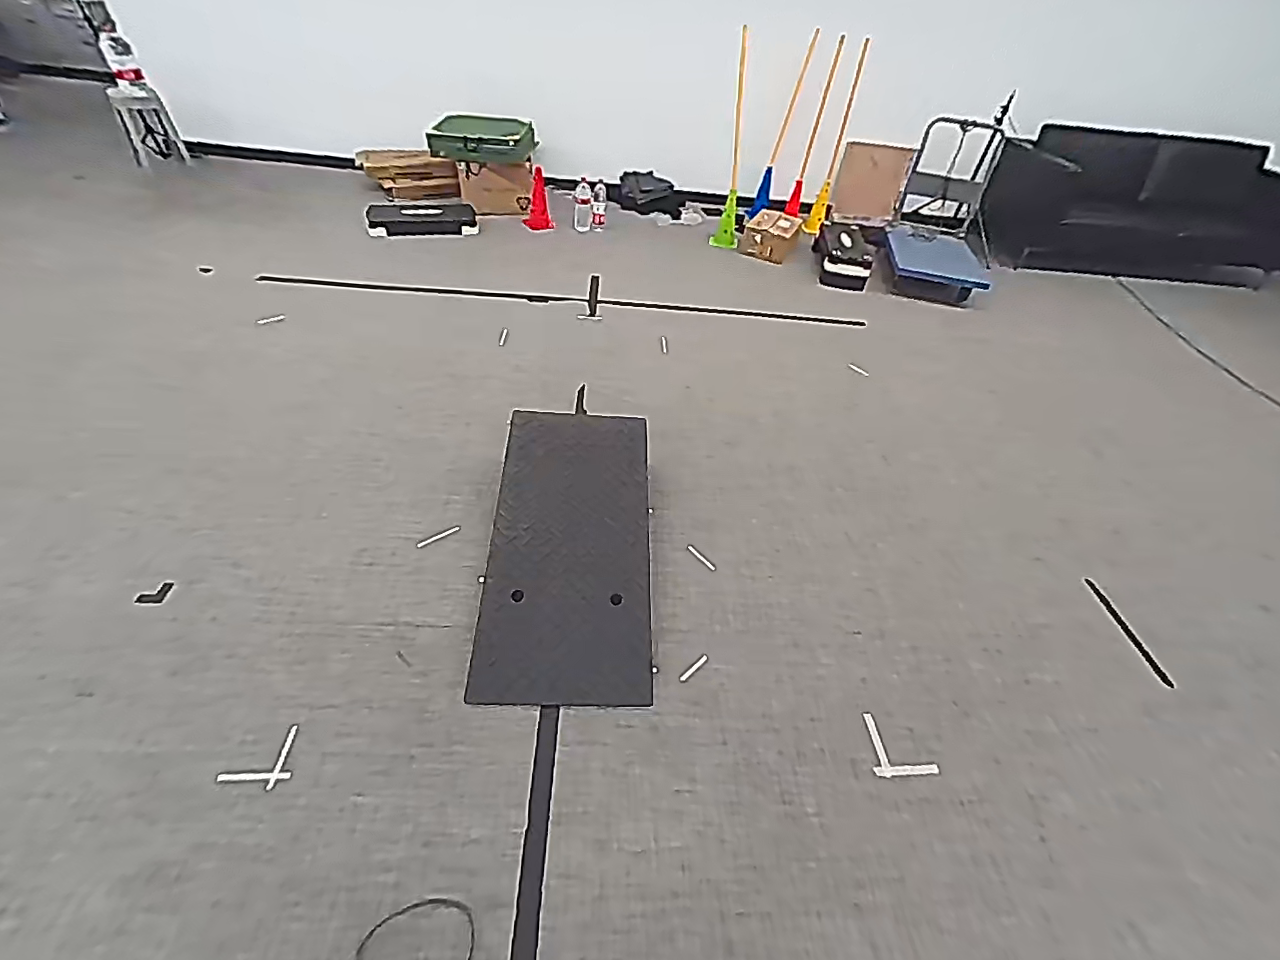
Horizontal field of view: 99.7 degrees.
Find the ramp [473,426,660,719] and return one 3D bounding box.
[{"bbox_3d":[-0.195,0.217,1.694,0.509,0.206,0.991,2,43,-7],"label":"ramp"}]
